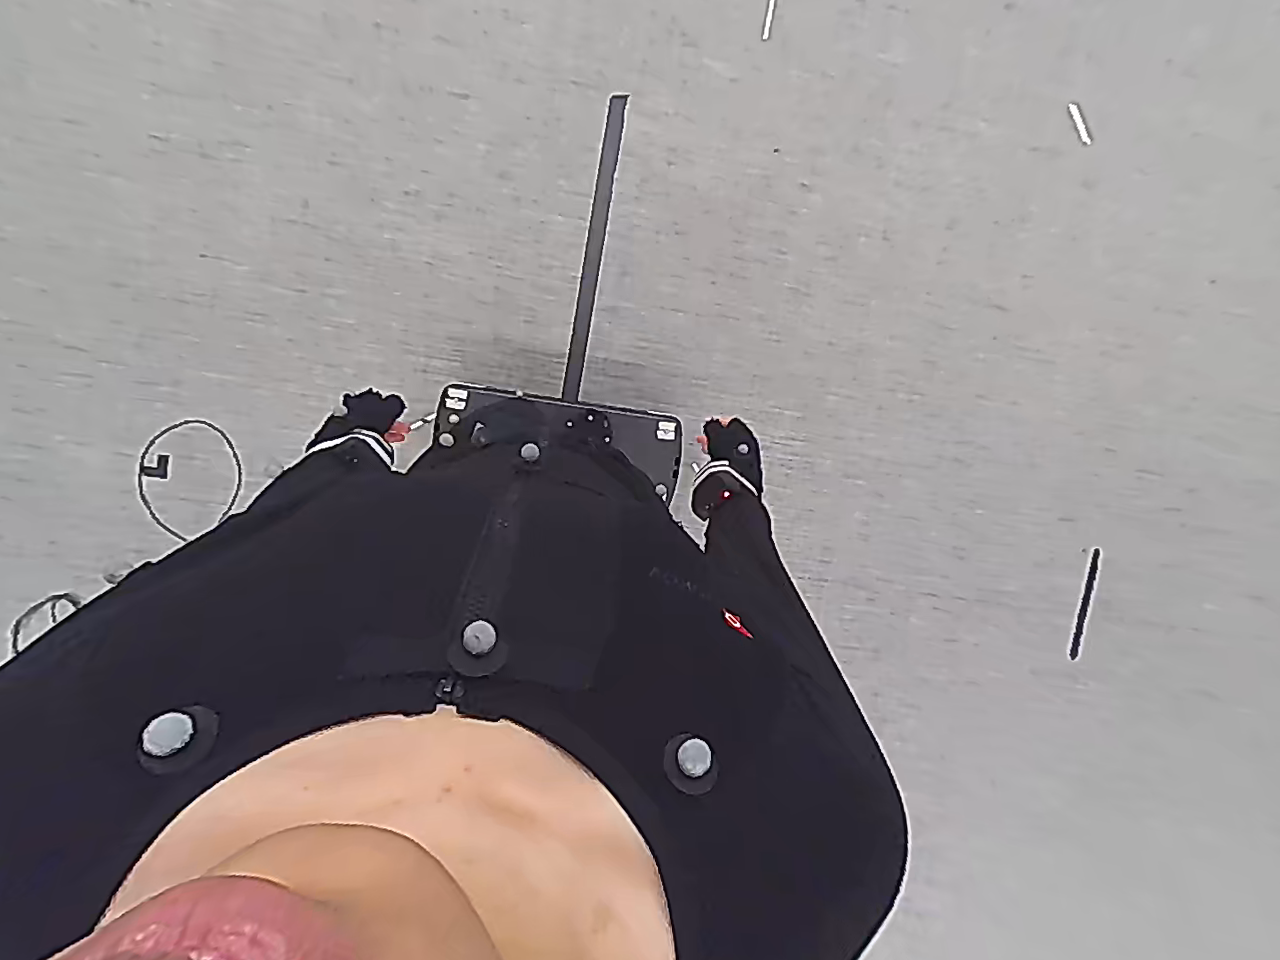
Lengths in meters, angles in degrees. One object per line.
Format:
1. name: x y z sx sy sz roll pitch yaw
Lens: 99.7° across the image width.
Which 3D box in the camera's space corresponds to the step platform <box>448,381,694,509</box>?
1. step platform: -0.191 -0.099 1.550 0.684 0.204 0.286 7 96 -7
